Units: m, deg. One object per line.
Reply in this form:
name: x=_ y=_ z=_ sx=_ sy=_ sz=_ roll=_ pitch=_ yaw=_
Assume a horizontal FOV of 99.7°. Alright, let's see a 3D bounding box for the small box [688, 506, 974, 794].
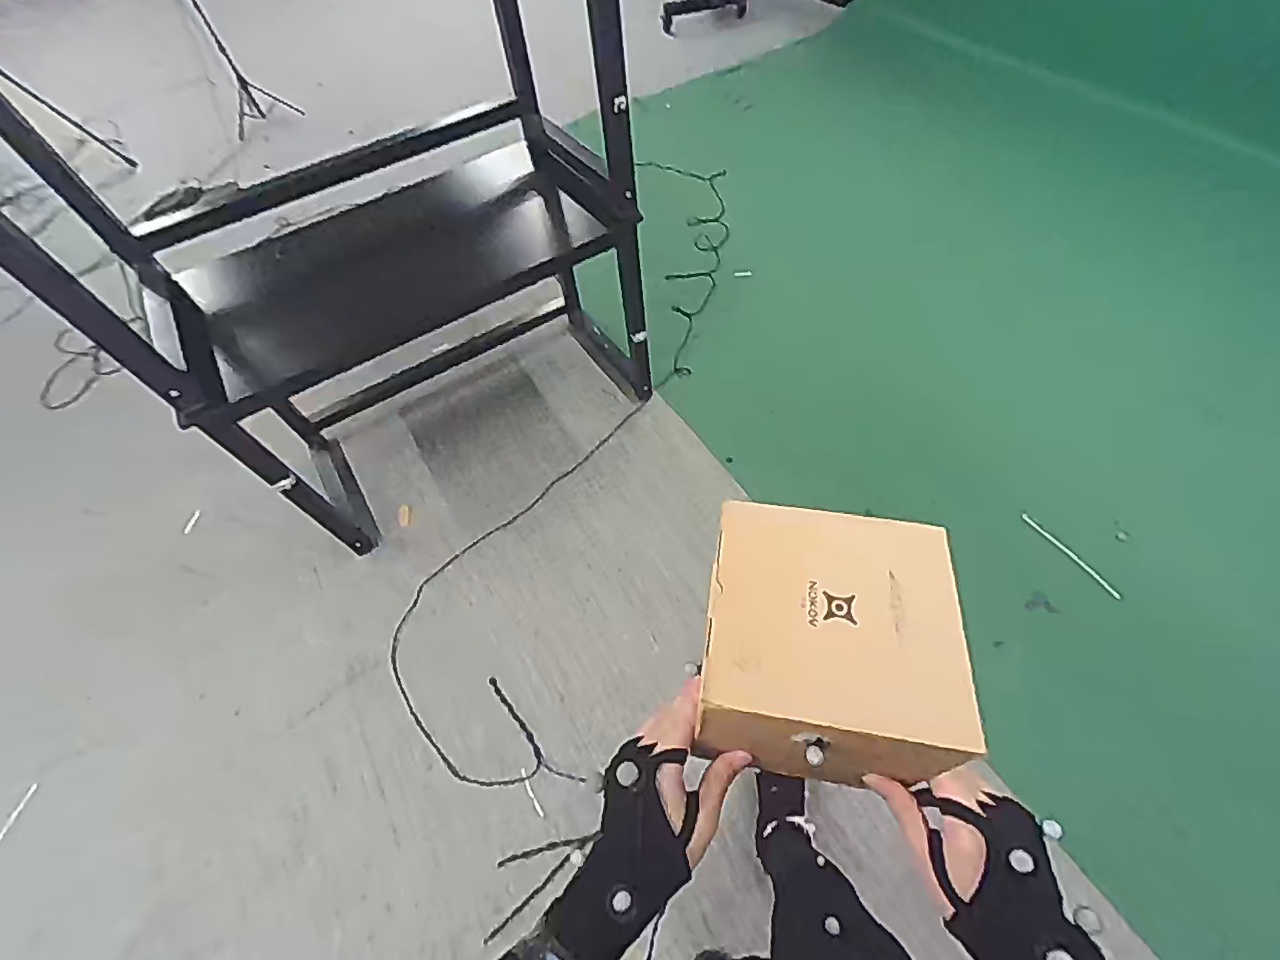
small box: x=0.136 y=0.144 z=0.449 sx=0.179 sy=0.176 sz=0.168 roll=8 pitch=53 yaw=8
